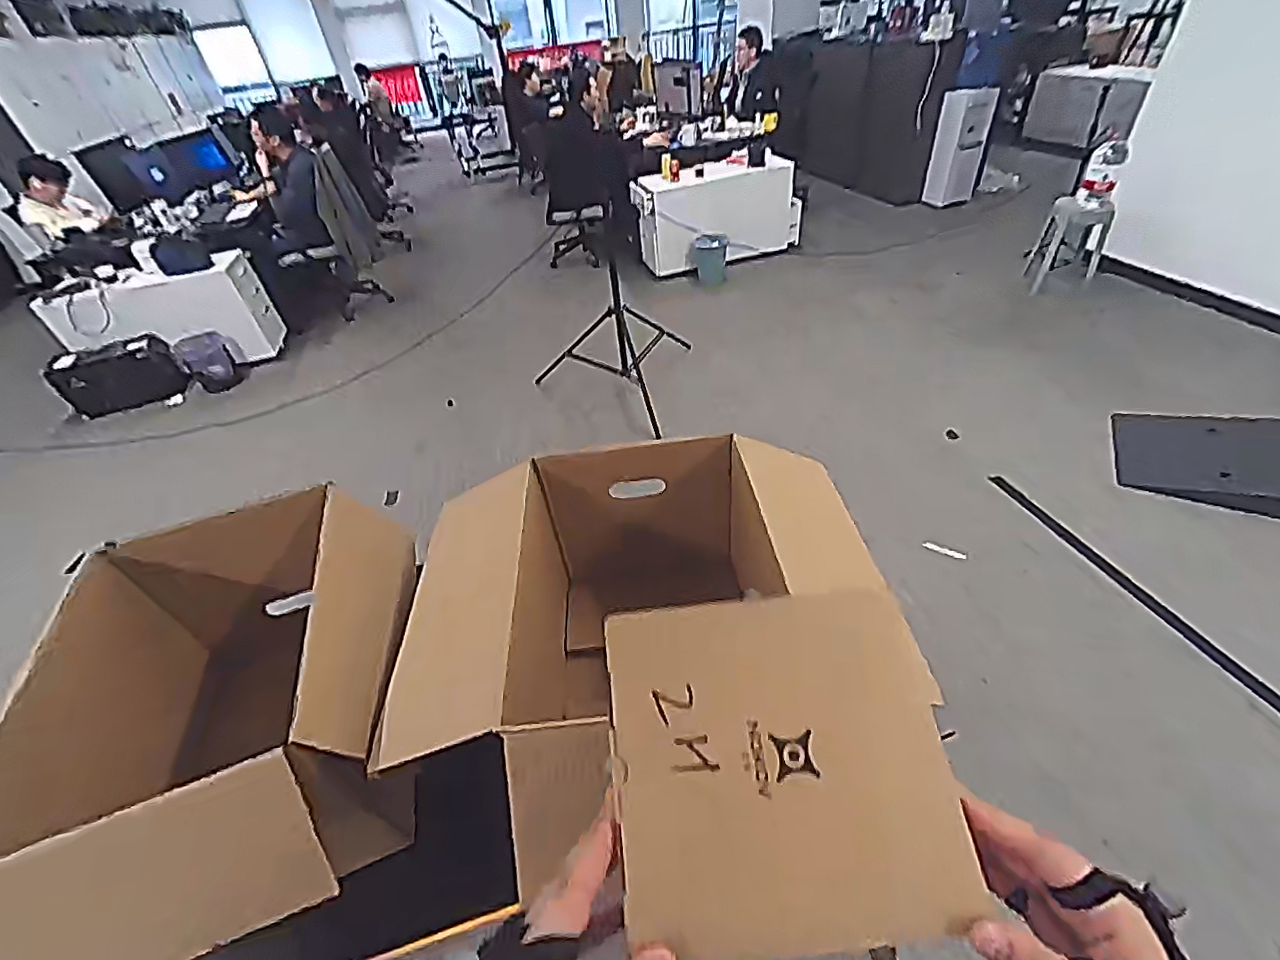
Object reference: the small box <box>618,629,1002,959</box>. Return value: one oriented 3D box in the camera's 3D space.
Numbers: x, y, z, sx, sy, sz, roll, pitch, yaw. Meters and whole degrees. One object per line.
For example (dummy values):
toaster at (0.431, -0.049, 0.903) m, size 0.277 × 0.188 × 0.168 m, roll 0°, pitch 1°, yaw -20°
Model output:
small box at (0.080, 0.201, 0.356) m, size 0.179 × 0.176 × 0.168 m, roll -5°, pitch 63°, yaw 0°
